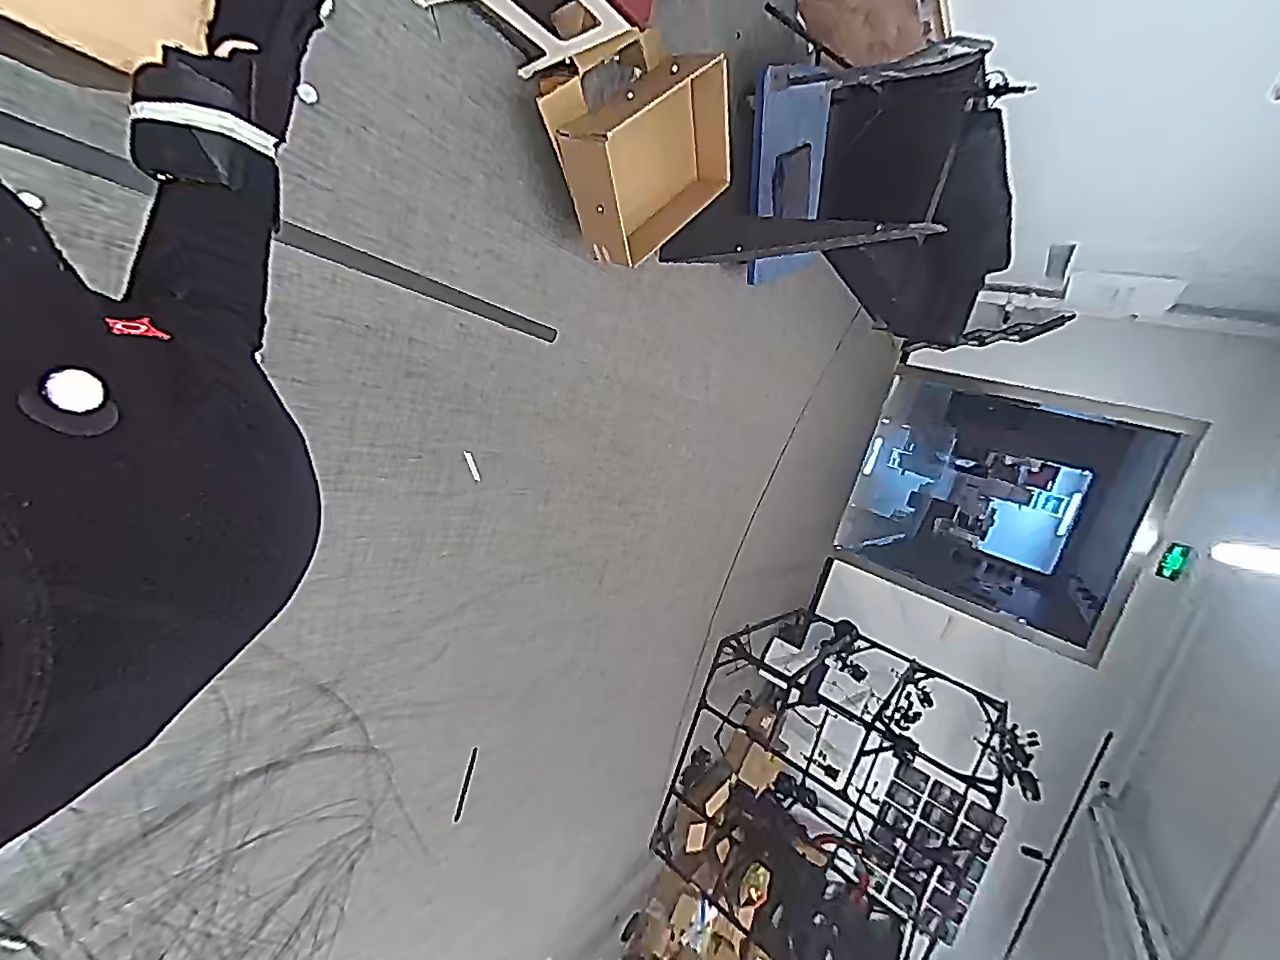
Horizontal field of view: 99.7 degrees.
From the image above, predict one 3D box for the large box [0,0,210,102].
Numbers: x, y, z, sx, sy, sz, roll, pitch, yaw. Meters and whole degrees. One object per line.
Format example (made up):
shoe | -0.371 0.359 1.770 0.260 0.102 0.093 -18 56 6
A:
large box | -0.491 -0.459 0.255 0.408 0.320 0.320 -1 115 -59
